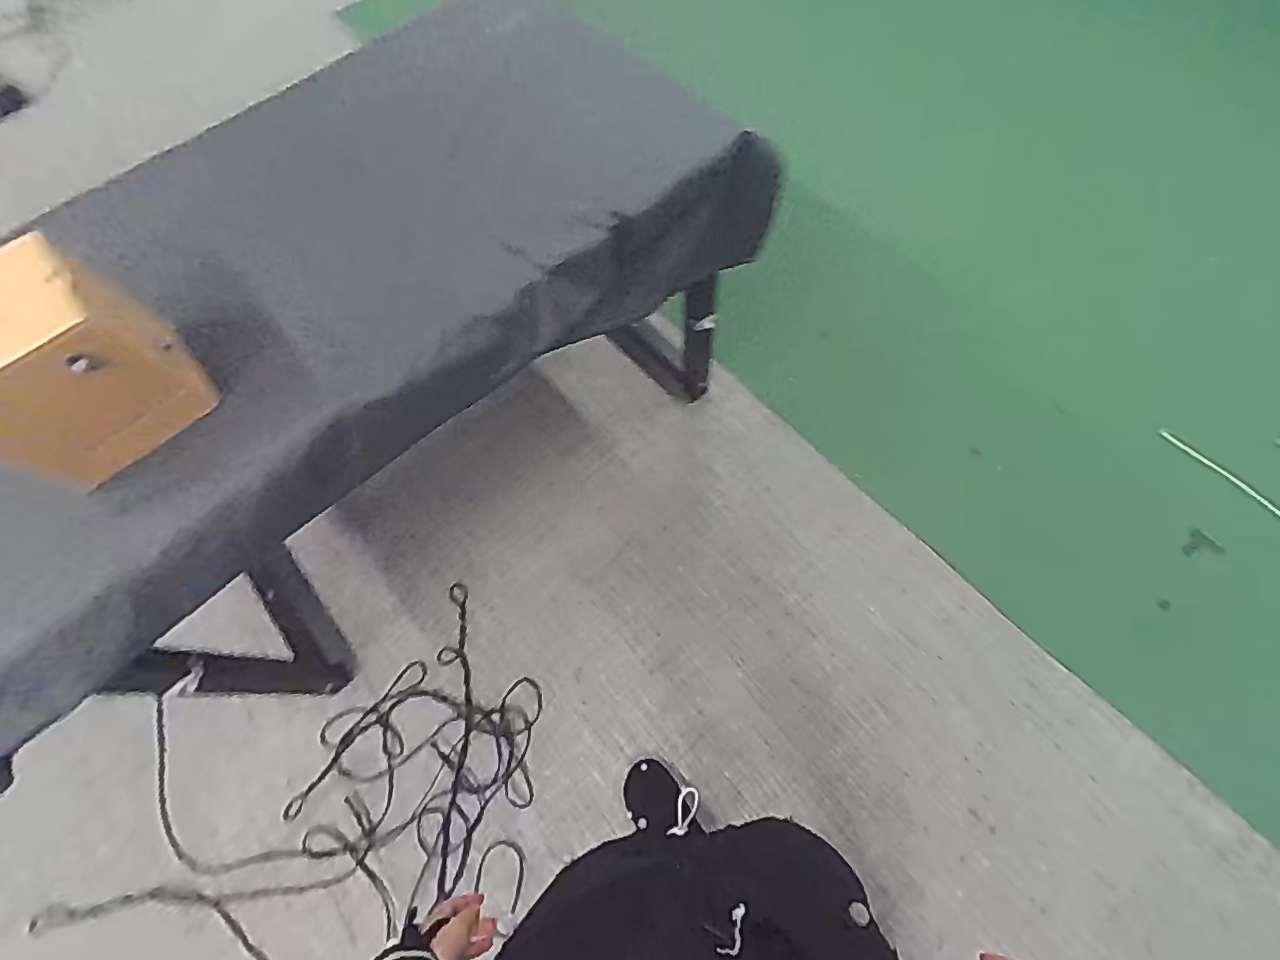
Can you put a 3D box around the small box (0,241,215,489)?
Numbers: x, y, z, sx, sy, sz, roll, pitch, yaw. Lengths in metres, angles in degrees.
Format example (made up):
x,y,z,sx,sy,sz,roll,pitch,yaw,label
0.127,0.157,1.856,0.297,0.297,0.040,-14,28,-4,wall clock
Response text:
x,y,z,sx,sy,sz,roll,pitch,yaw,label
-0.647,-0.119,0.610,0.179,0.176,0.168,-41,70,-13,small box
